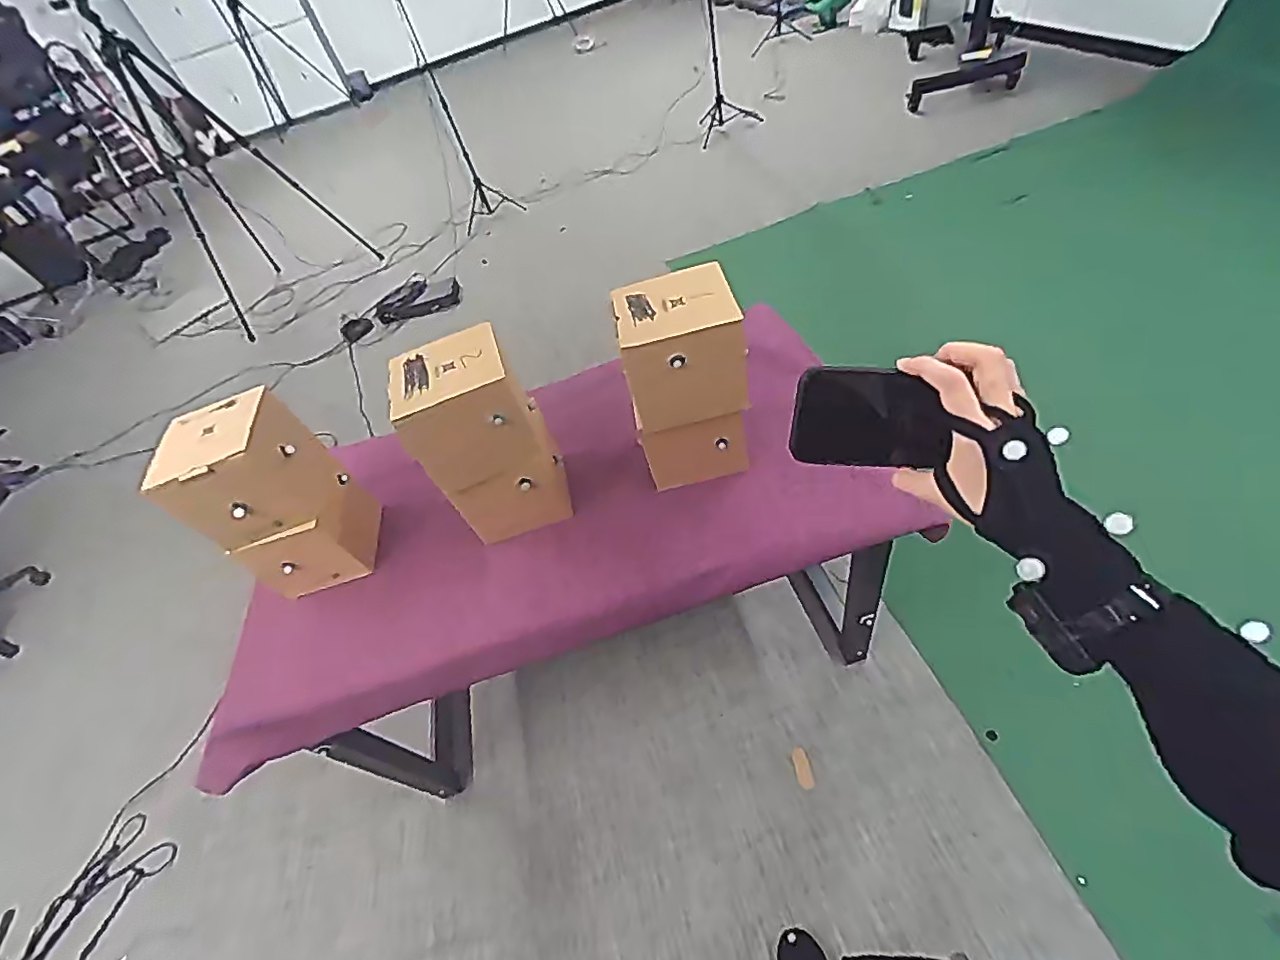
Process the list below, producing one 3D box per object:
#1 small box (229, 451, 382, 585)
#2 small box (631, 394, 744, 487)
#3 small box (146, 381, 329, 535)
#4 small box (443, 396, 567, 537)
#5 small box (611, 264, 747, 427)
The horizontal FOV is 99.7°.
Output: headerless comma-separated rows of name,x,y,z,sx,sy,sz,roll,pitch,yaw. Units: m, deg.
small box,-0.618,0.080,1.027,0.168,0.176,0.179,-17,49,2
small box,0.087,-0.110,0.982,0.179,0.176,0.168,-13,48,7
small box,-0.656,-0.029,0.910,0.168,0.176,0.179,-20,49,-2
small box,-0.242,-0.021,1.000,0.179,0.176,0.168,-17,48,2
small box,0.062,-0.204,0.849,0.179,0.176,0.168,-12,49,5
